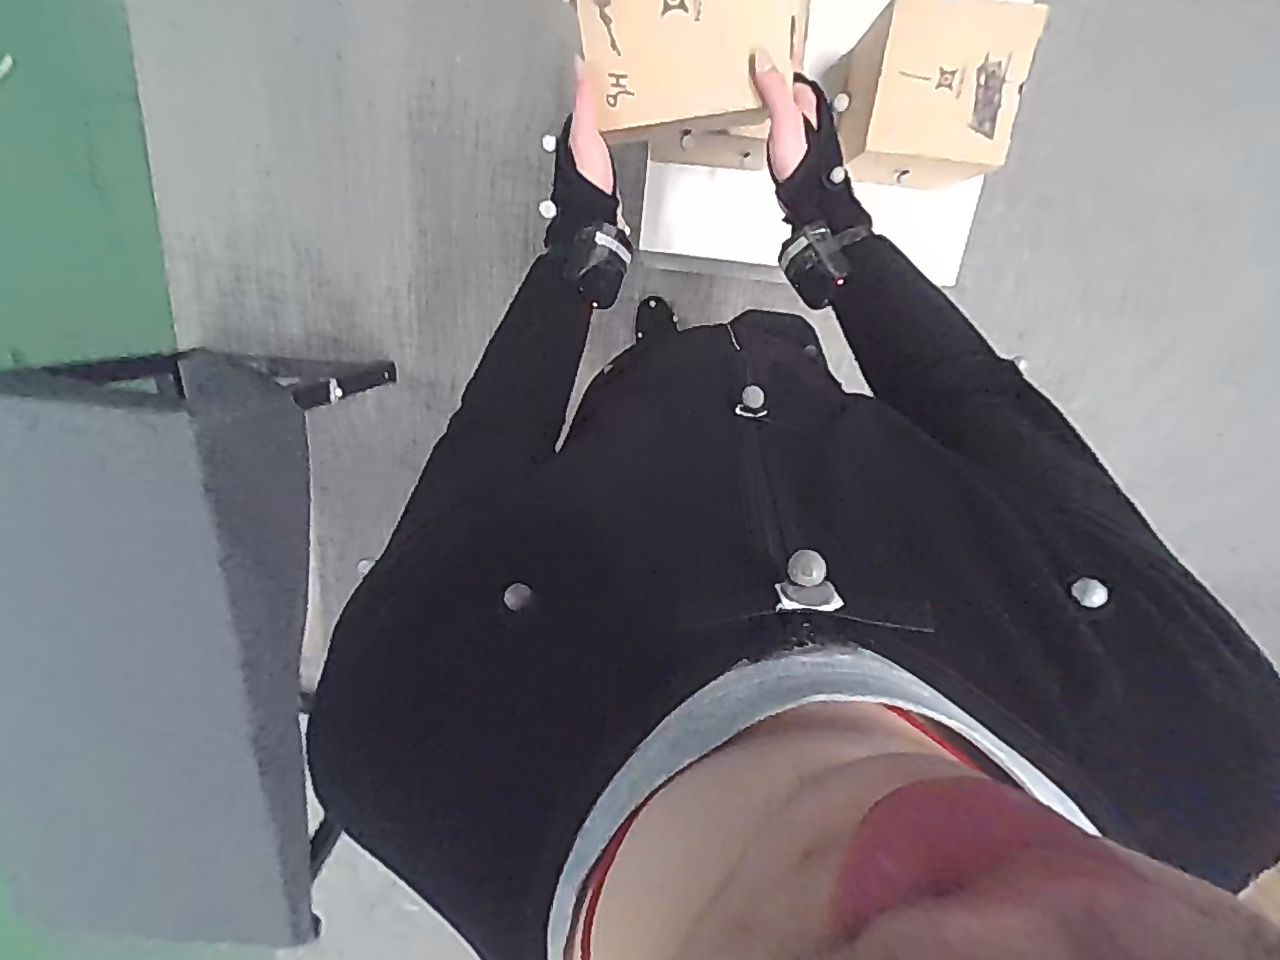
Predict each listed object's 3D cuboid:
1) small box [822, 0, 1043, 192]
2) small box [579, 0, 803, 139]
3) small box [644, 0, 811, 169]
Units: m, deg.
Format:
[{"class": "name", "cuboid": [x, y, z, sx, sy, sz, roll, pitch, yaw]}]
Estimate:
[{"class": "small box", "cuboid": [0.365, -0.491, 0.712, 0.179, 0.176, 0.168, 7, 108, -2]}, {"class": "small box", "cuboid": [0.036, -0.418, 0.485, 0.179, 0.176, 0.168, -6, 117, 2]}, {"class": "small box", "cuboid": [0.101, -0.519, 0.702, 0.179, 0.176, 0.168, 4, 107, -2]}]
